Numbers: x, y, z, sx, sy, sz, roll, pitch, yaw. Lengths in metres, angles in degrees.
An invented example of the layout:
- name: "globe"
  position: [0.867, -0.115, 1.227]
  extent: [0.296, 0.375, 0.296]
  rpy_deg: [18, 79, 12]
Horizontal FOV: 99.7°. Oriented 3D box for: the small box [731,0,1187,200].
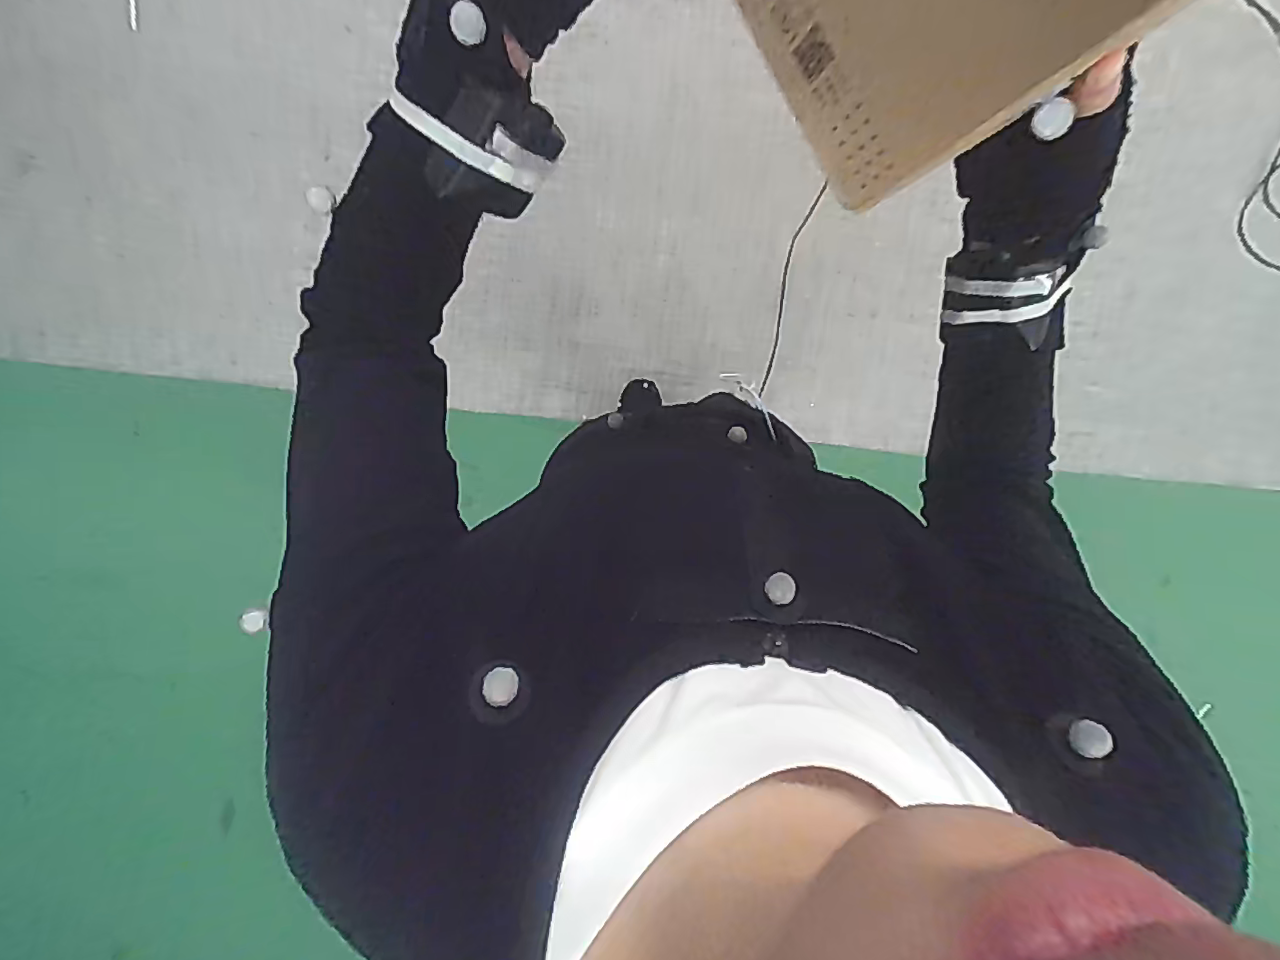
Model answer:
- name: "small box"
  position: [0.140, -0.235, 0.179]
  extent: [0.179, 0.176, 0.168]
  rpy_deg: [-36, 100, -21]
